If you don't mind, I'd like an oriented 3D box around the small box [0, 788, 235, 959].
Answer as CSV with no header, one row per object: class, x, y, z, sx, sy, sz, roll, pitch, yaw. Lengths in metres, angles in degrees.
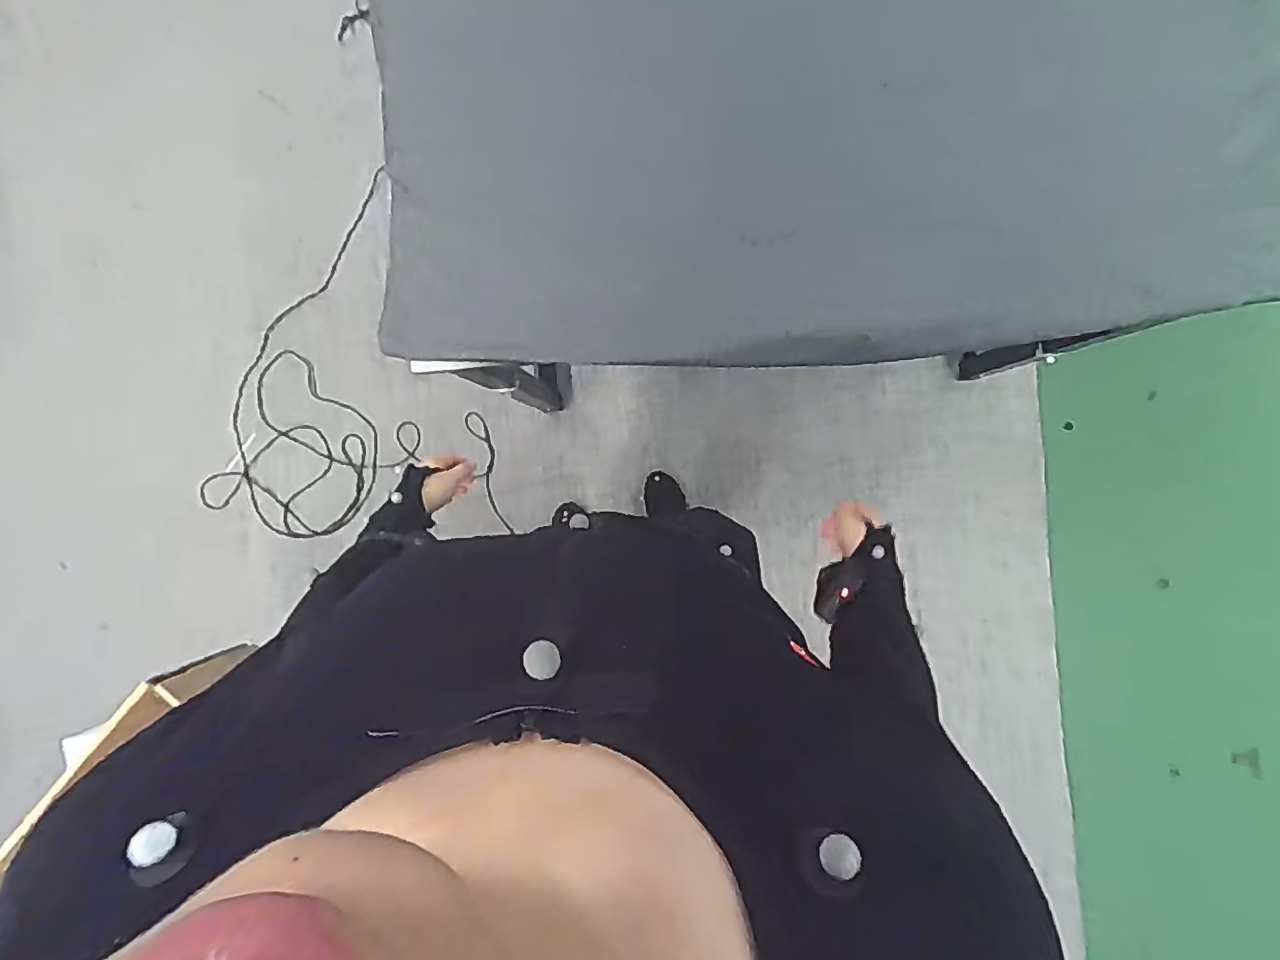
small box,-0.659,0.515,0.653,0.179,0.176,0.168,44,95,-1
